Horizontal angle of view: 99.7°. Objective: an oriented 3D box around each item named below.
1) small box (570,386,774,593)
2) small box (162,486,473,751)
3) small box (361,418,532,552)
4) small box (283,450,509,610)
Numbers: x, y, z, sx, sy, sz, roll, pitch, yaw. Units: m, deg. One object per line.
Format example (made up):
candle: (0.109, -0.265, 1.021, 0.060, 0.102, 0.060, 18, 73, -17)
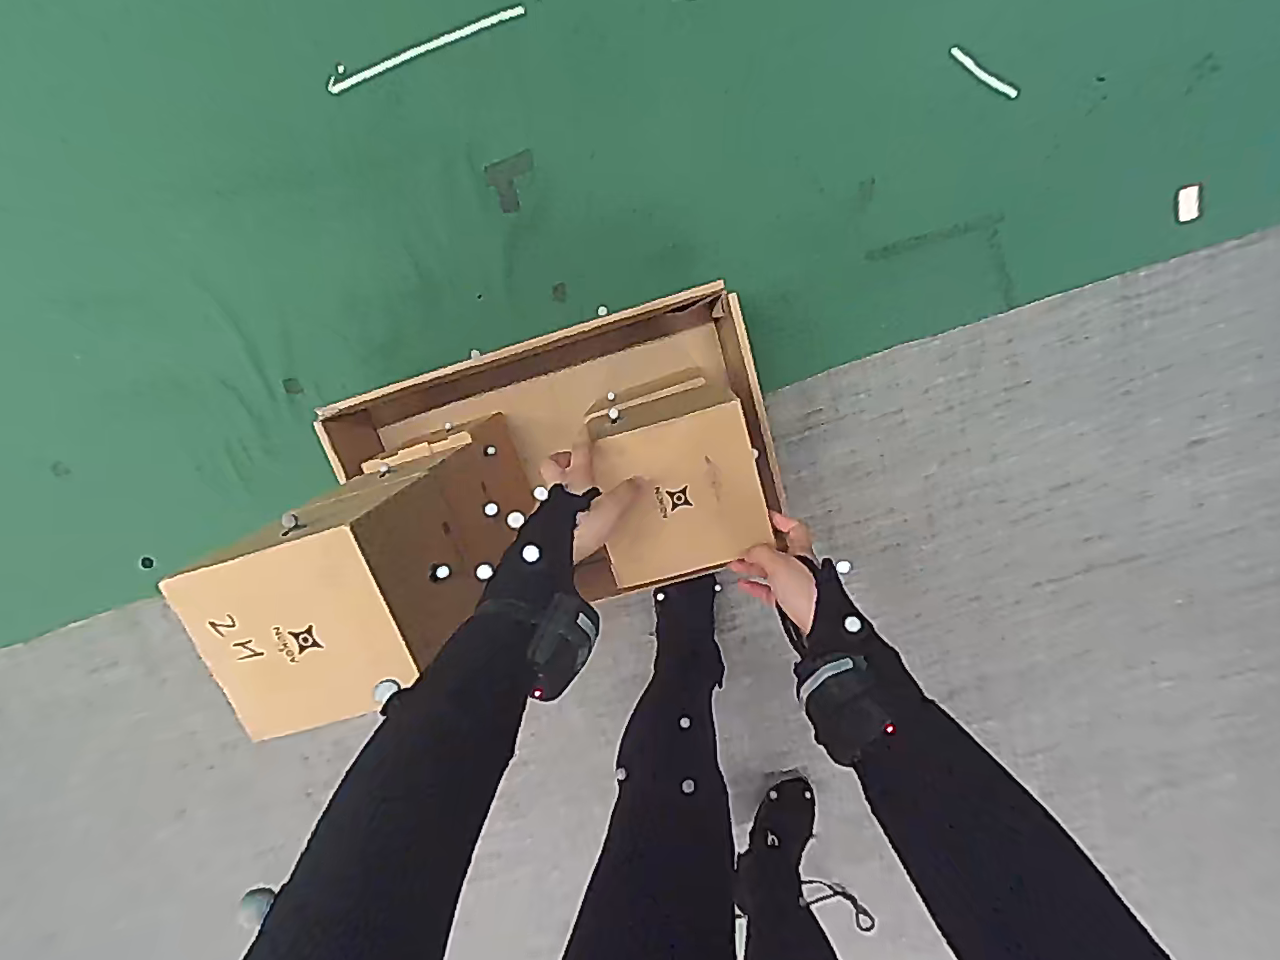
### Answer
small box: (0.037, 0.001, 0.625, 0.179, 0.176, 0.168, -17, 107, 6)
small box: (-0.281, 0.120, 0.526, 0.179, 0.176, 0.168, -17, 104, 6)
small box: (-0.284, 0.020, 0.840, 0.168, 0.176, 0.179, -17, 105, 6)
small box: (-0.289, 0.075, 0.685, 0.179, 0.176, 0.168, -16, 106, 5)
